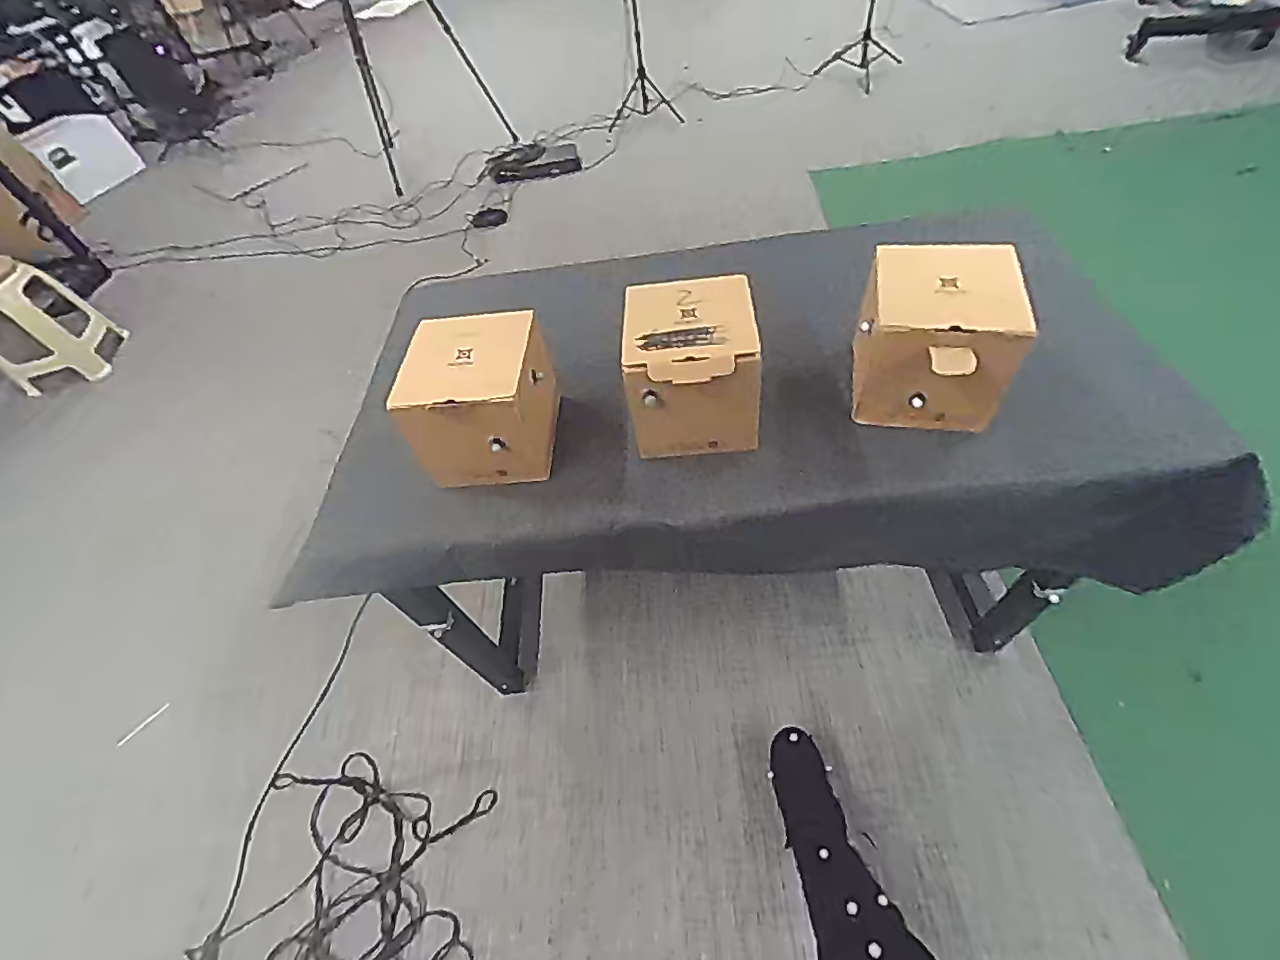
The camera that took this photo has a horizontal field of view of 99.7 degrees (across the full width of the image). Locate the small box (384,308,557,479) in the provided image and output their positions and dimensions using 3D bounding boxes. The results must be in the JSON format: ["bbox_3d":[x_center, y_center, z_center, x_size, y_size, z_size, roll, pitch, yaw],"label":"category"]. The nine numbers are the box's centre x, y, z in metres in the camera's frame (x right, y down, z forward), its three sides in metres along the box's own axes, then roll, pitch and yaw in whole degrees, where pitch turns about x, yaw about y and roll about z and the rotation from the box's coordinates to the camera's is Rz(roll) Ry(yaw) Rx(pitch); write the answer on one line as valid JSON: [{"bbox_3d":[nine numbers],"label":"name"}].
[{"bbox_3d":[-0.218,-0.113,0.754,0.168,0.176,0.179,-3,51,5],"label":"small box"}]

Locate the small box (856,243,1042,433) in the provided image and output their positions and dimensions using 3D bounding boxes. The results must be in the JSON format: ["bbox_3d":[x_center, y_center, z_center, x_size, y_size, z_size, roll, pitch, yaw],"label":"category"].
[{"bbox_3d":[0.388,-0.188,0.716,0.168,0.176,0.179,7,55,13],"label":"small box"}]
